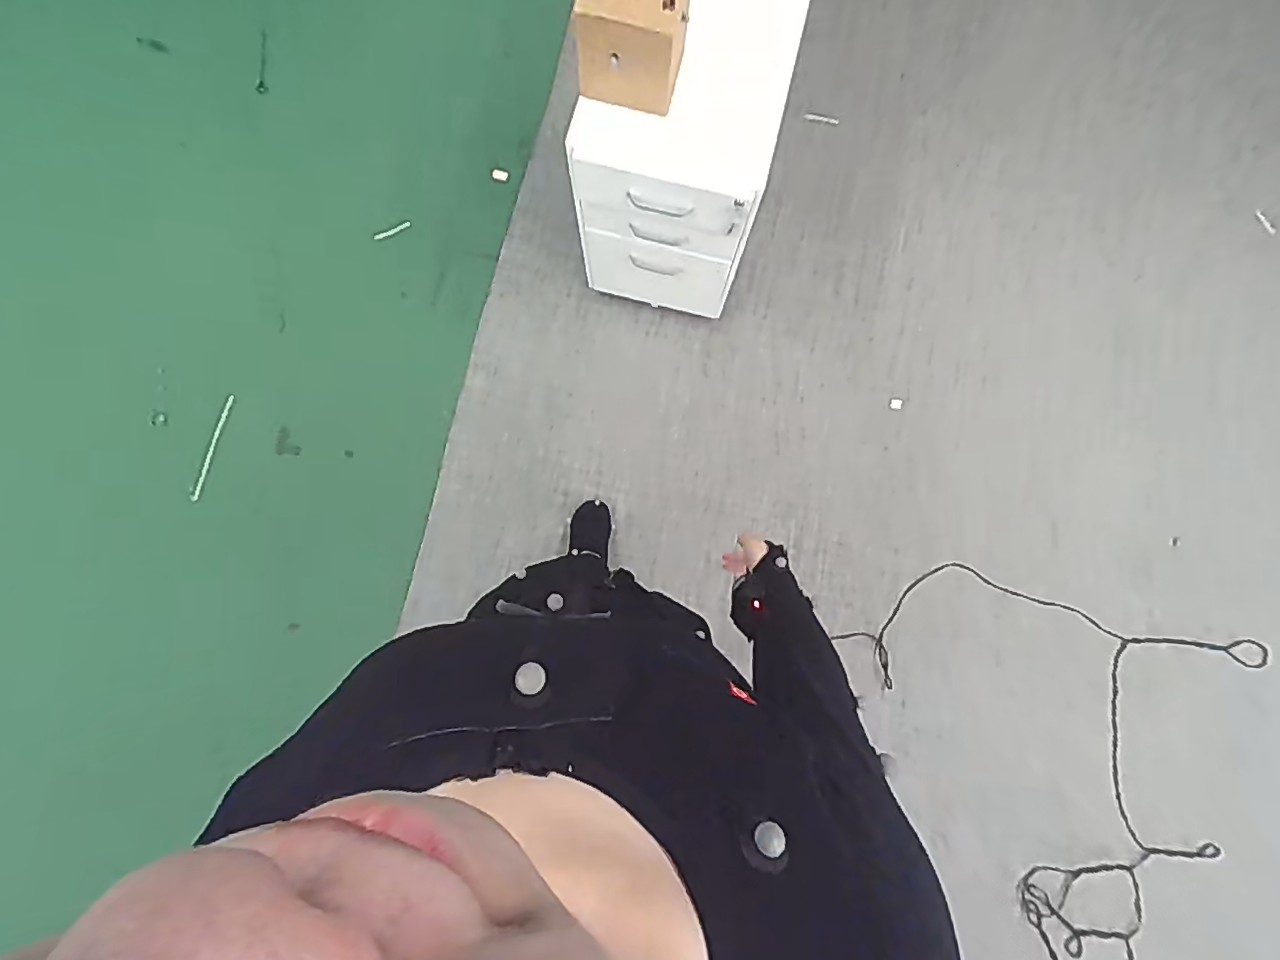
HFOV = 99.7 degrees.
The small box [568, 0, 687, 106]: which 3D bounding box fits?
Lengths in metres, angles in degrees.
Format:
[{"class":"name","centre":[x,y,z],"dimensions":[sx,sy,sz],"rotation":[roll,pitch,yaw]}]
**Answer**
[{"class":"small box","centre":[-0.016,-0.818,0.972],"dimensions":[0.179,0.176,0.168],"rotation":[13,82,1]}]
